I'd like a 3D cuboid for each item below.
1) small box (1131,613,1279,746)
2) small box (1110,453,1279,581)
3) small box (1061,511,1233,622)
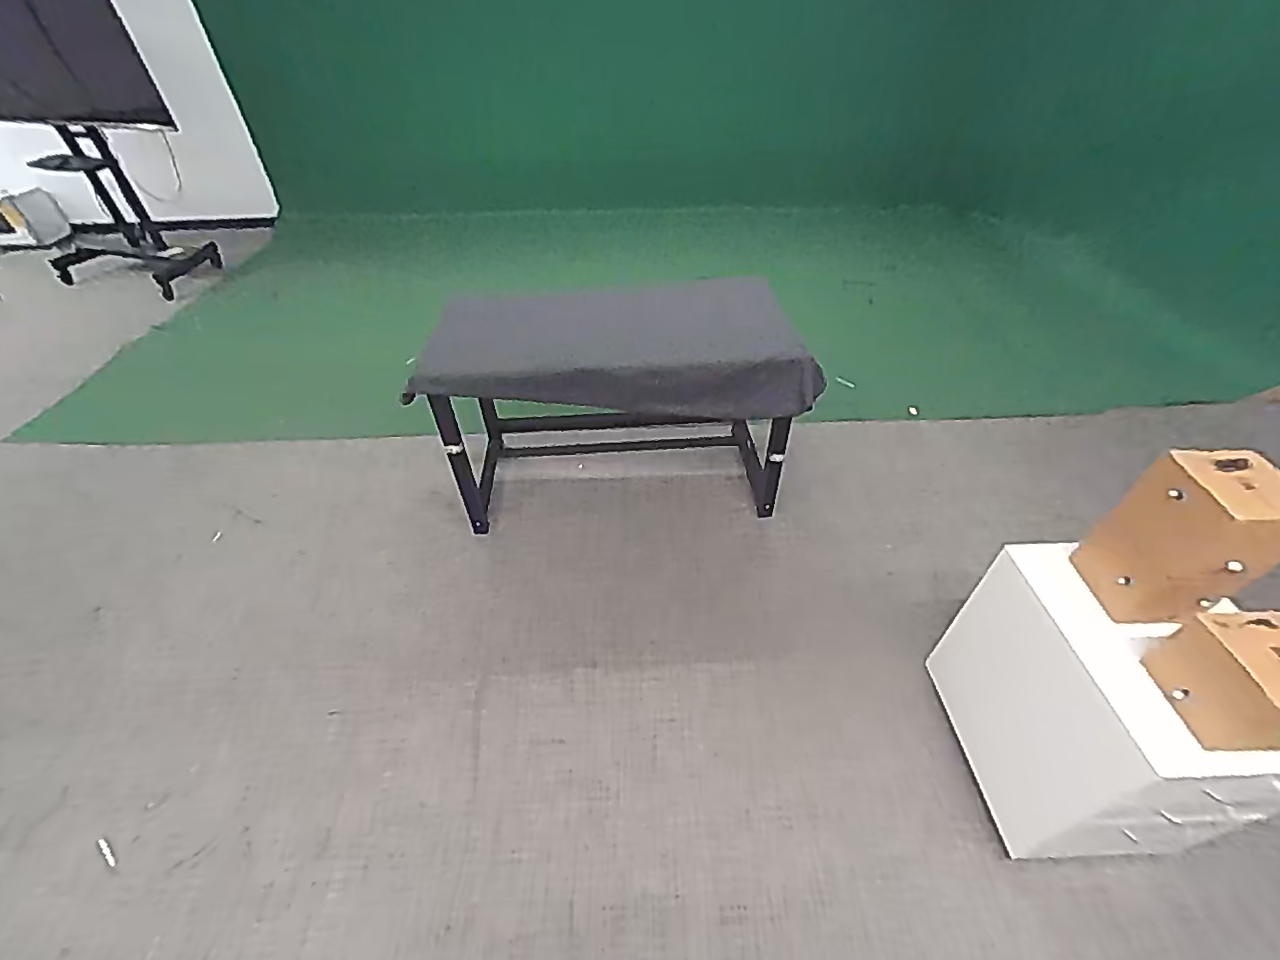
[{"bbox_3d":[1.046,0.355,0.954,0.168,0.176,0.179,0,44,0],"label":"small box"},{"bbox_3d":[1.057,0.068,1.018,0.168,0.176,0.179,1,46,-1],"label":"small box"},{"bbox_3d":[1.050,0.183,1.136,0.168,0.176,0.179,0,43,-2],"label":"small box"}]
